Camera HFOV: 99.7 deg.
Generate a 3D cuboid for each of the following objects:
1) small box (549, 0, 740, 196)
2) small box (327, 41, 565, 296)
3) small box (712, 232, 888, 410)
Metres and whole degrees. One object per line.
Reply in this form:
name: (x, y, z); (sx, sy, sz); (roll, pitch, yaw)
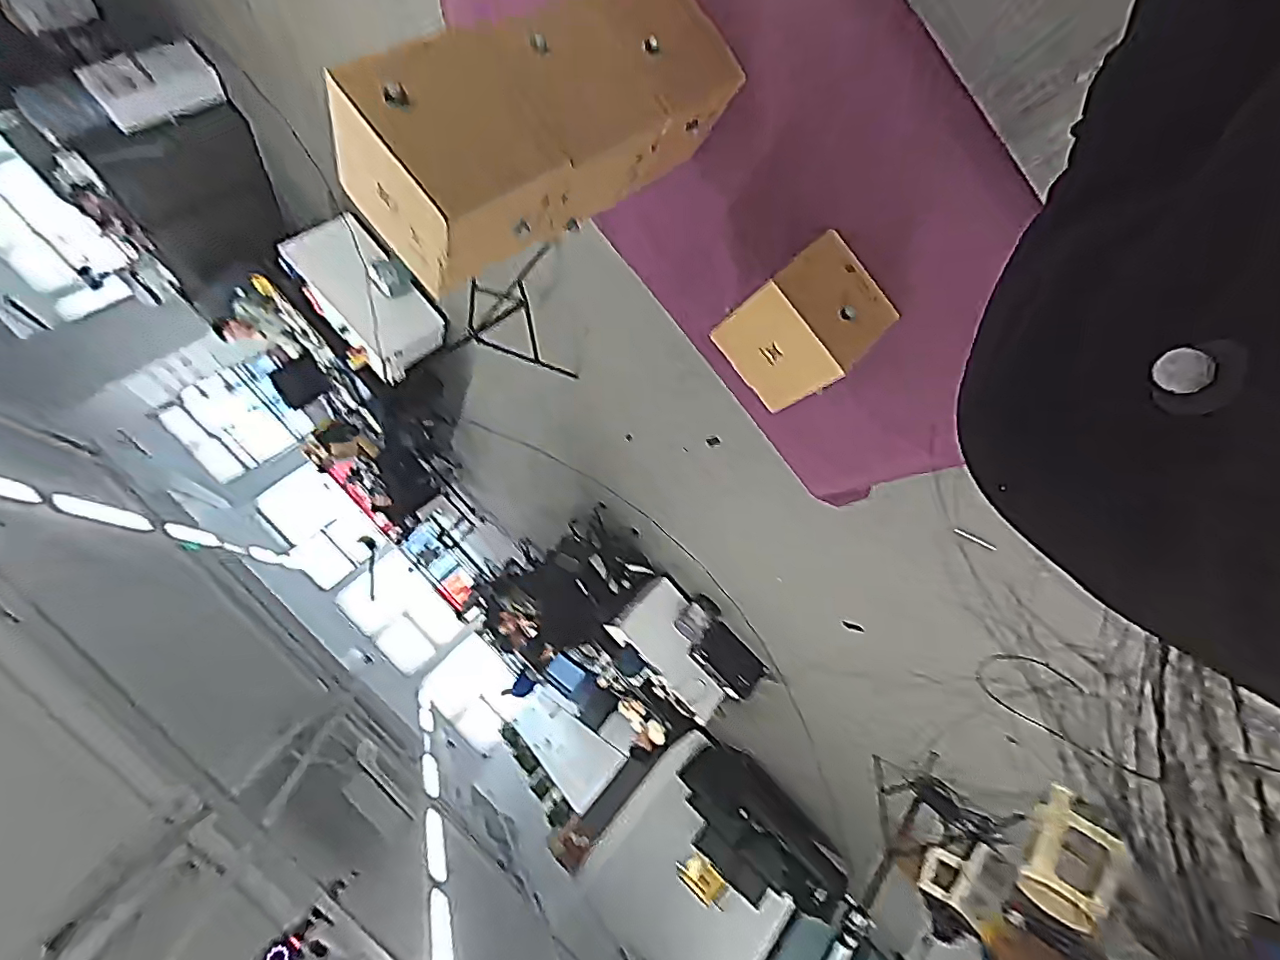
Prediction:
small box: (0.006, -0.554, 0.761); (0.179, 0.176, 0.168); (51, 155, -8)
small box: (-0.219, -0.356, 0.623); (0.179, 0.176, 0.168); (50, 156, -8)
small box: (0.252, -0.243, 0.838); (0.168, 0.176, 0.179); (49, 157, -5)
